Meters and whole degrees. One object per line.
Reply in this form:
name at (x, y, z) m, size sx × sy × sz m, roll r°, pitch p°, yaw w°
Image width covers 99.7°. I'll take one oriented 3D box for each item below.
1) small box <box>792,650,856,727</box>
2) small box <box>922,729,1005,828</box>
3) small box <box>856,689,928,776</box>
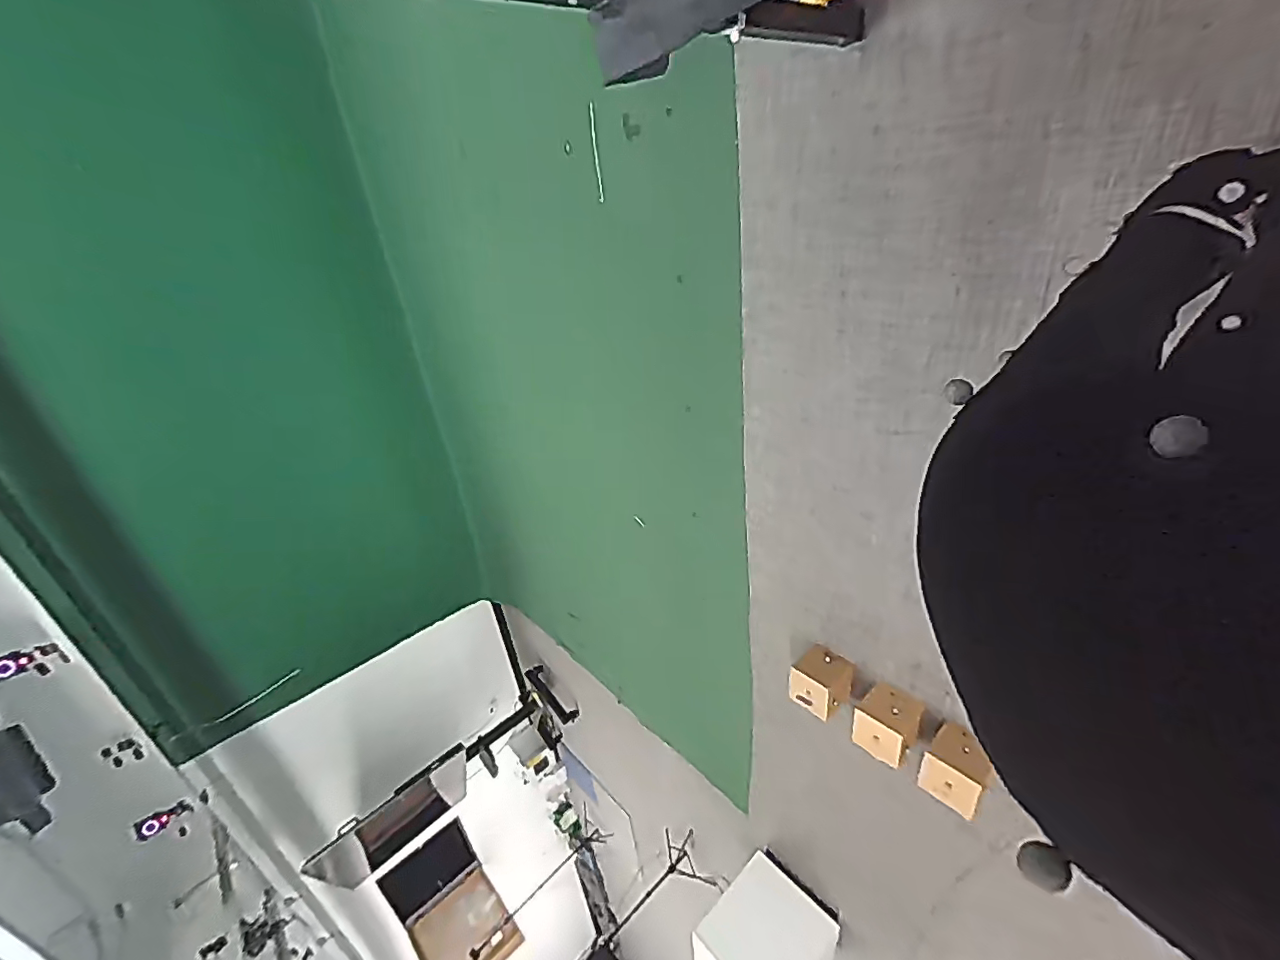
small box at (0.698, 0.786, 2.052) m, size 0.168 × 0.176 × 0.179 m, roll 23°, pitch 129°, yaw 45°
small box at (1.023, 0.934, 1.708) m, size 0.168 × 0.176 × 0.179 m, roll 25°, pitch 131°, yaw 44°
small box at (0.872, 0.866, 1.871) m, size 0.168 × 0.176 × 0.179 m, roll 23°, pitch 129°, yaw 45°
